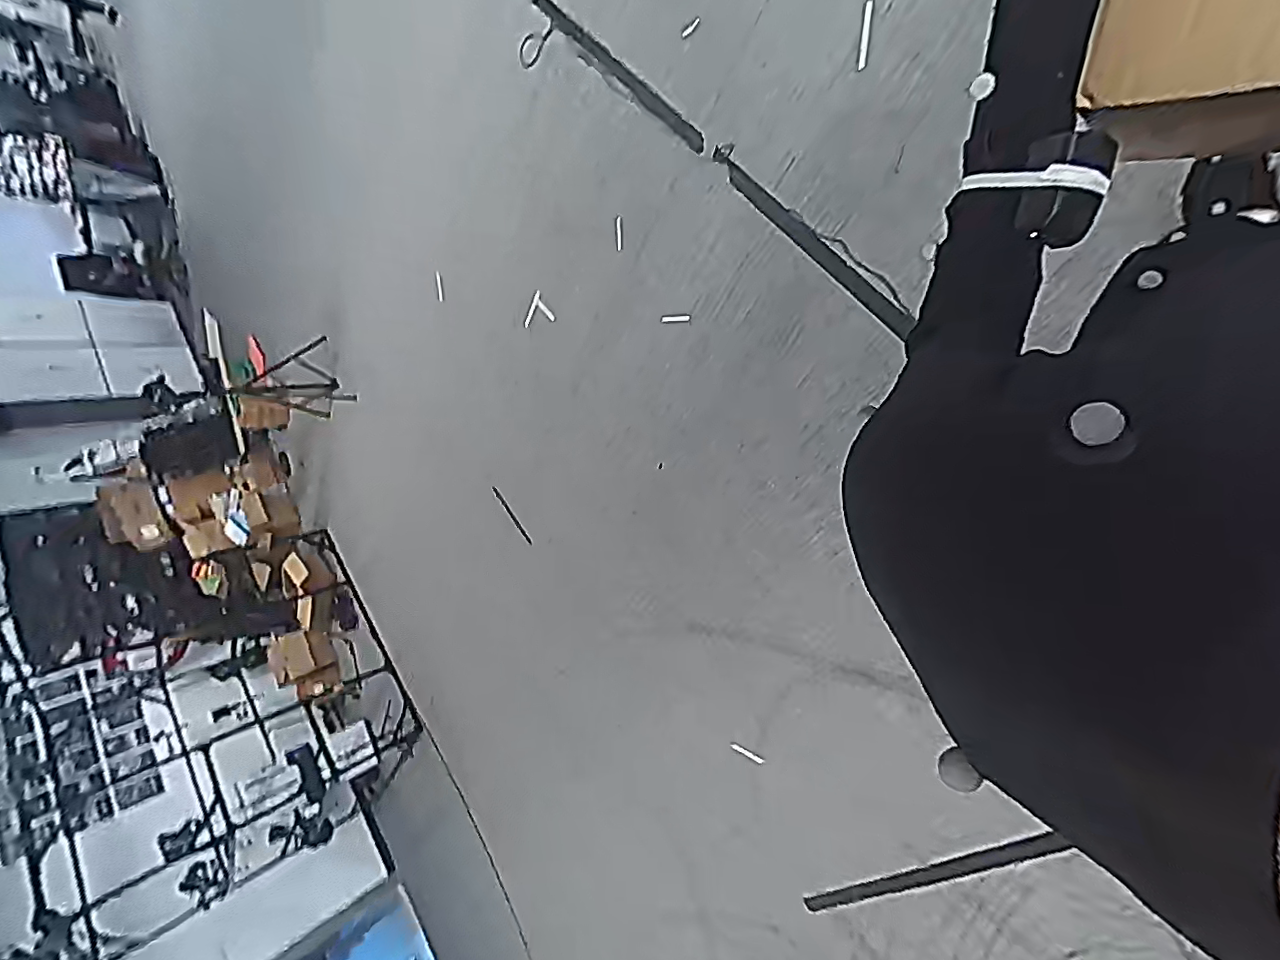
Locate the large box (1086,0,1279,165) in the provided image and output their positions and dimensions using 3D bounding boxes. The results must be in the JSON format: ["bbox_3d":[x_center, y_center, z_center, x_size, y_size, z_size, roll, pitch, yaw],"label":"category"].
[{"bbox_3d":[0.549,-0.387,0.299,0.408,0.320,0.320,19,120,37],"label":"large box"}]
